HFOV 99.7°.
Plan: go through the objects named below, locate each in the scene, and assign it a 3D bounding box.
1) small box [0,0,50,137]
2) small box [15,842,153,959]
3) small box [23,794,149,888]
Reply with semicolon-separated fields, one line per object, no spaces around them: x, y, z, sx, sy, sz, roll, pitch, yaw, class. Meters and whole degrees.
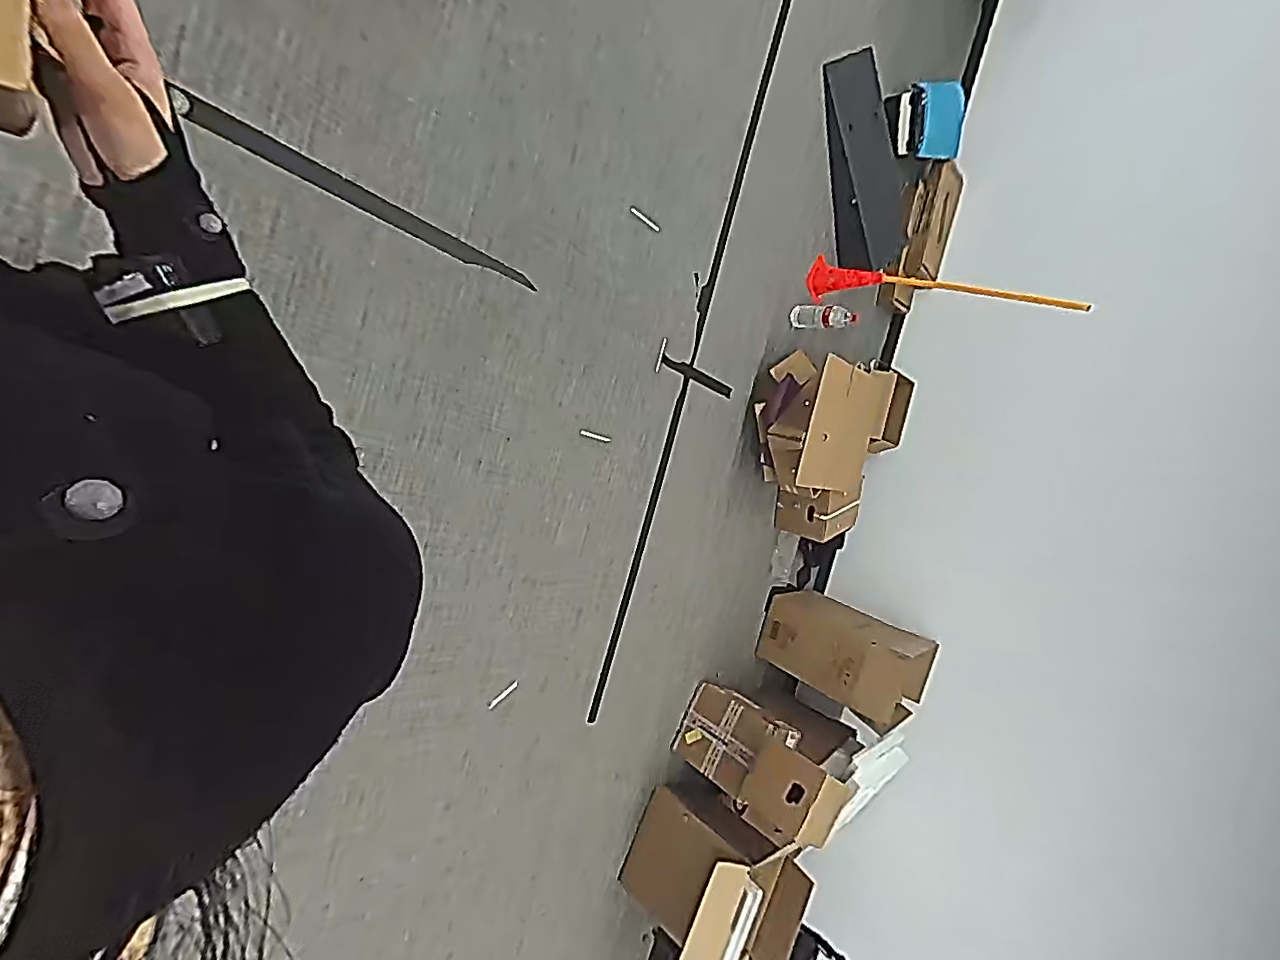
-0.364;-0.274;0.222;0.168;0.176;0.179;1;104;-49;small box
-1.078;0.862;1.054;0.179;0.176;0.168;-3;104;-45;small box
-1.192;0.824;1.164;0.179;0.176;0.168;-6;107;-47;small box
